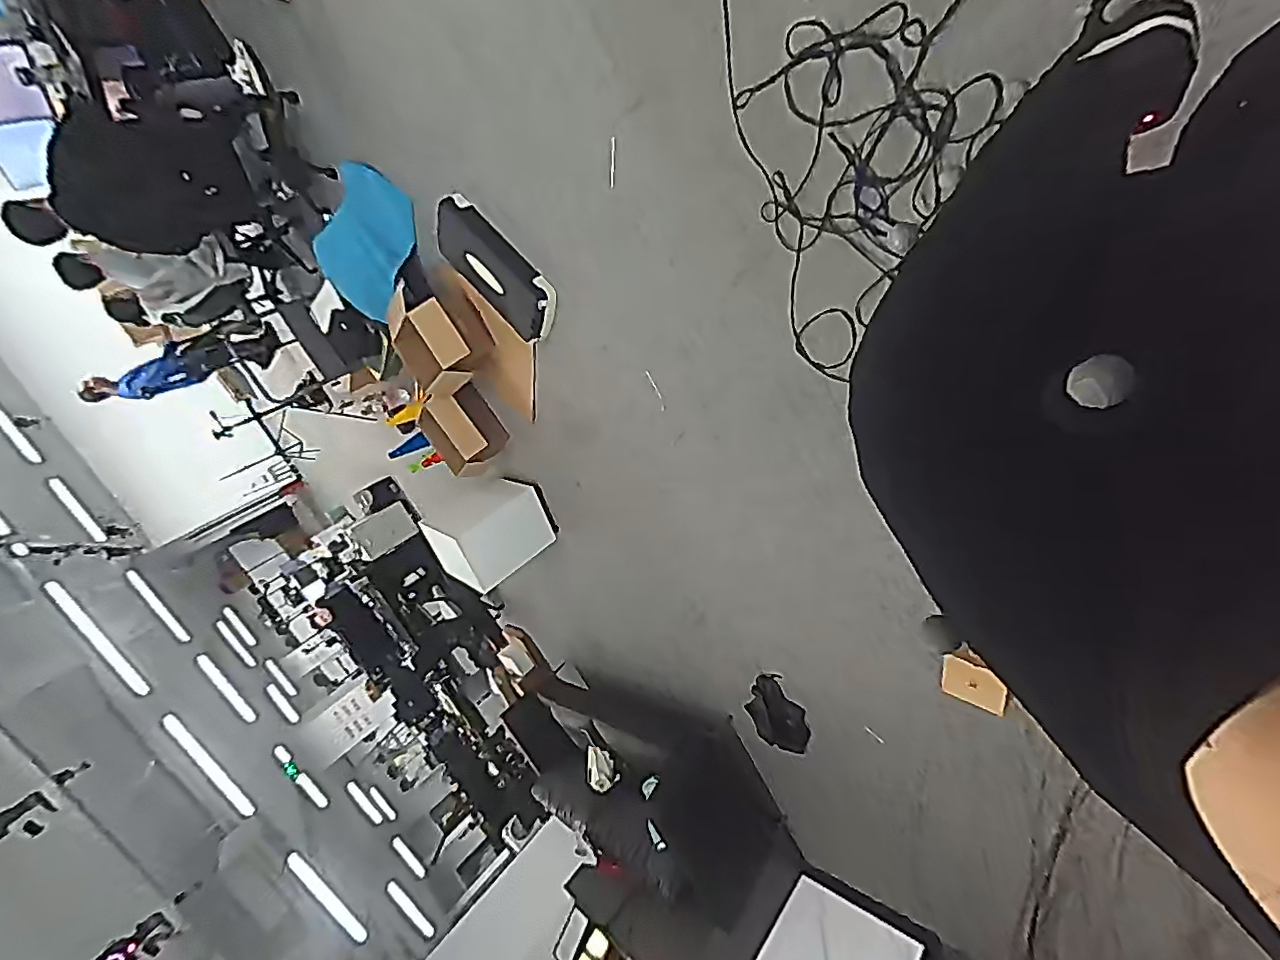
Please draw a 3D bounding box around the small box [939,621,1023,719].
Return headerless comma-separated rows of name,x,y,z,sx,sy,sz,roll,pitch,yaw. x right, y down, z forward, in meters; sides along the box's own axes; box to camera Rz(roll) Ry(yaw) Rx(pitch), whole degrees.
small box,1.009,0.555,1.601,0.168,0.176,0.179,16,132,43
